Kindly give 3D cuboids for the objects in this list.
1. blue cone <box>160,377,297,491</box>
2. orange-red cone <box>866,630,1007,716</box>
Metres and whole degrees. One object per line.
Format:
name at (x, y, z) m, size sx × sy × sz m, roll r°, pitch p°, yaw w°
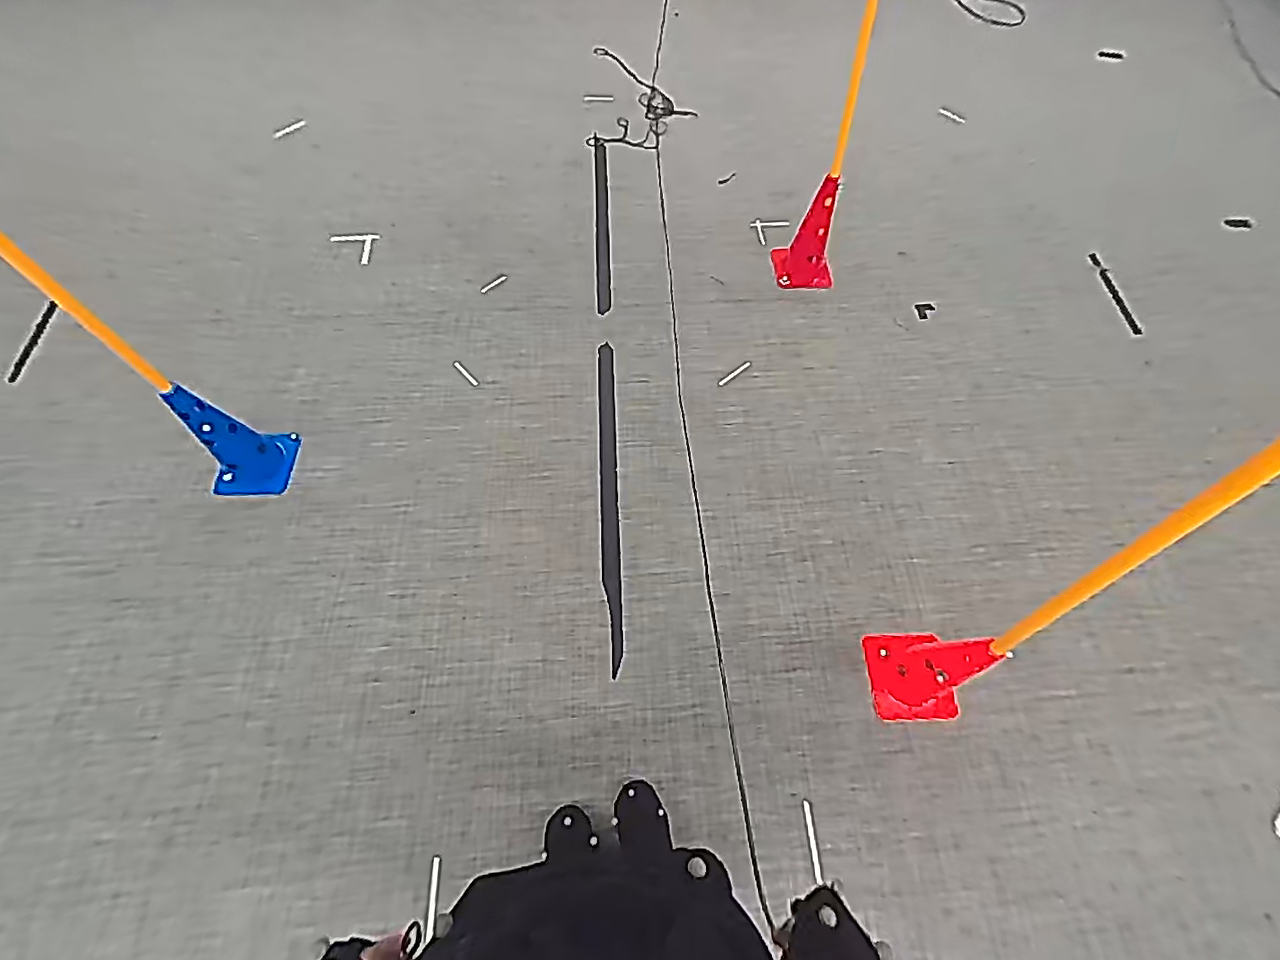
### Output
blue cone at (-1.094, -0.129, 1.408) m, size 0.193 × 0.380 × 0.192 m, roll 1°, pitch 62°, yaw -1°
orange-red cone at (0.661, 0.388, 1.157) m, size 0.198 × 0.360 × 0.199 m, roll 0°, pitch 63°, yaw -1°
